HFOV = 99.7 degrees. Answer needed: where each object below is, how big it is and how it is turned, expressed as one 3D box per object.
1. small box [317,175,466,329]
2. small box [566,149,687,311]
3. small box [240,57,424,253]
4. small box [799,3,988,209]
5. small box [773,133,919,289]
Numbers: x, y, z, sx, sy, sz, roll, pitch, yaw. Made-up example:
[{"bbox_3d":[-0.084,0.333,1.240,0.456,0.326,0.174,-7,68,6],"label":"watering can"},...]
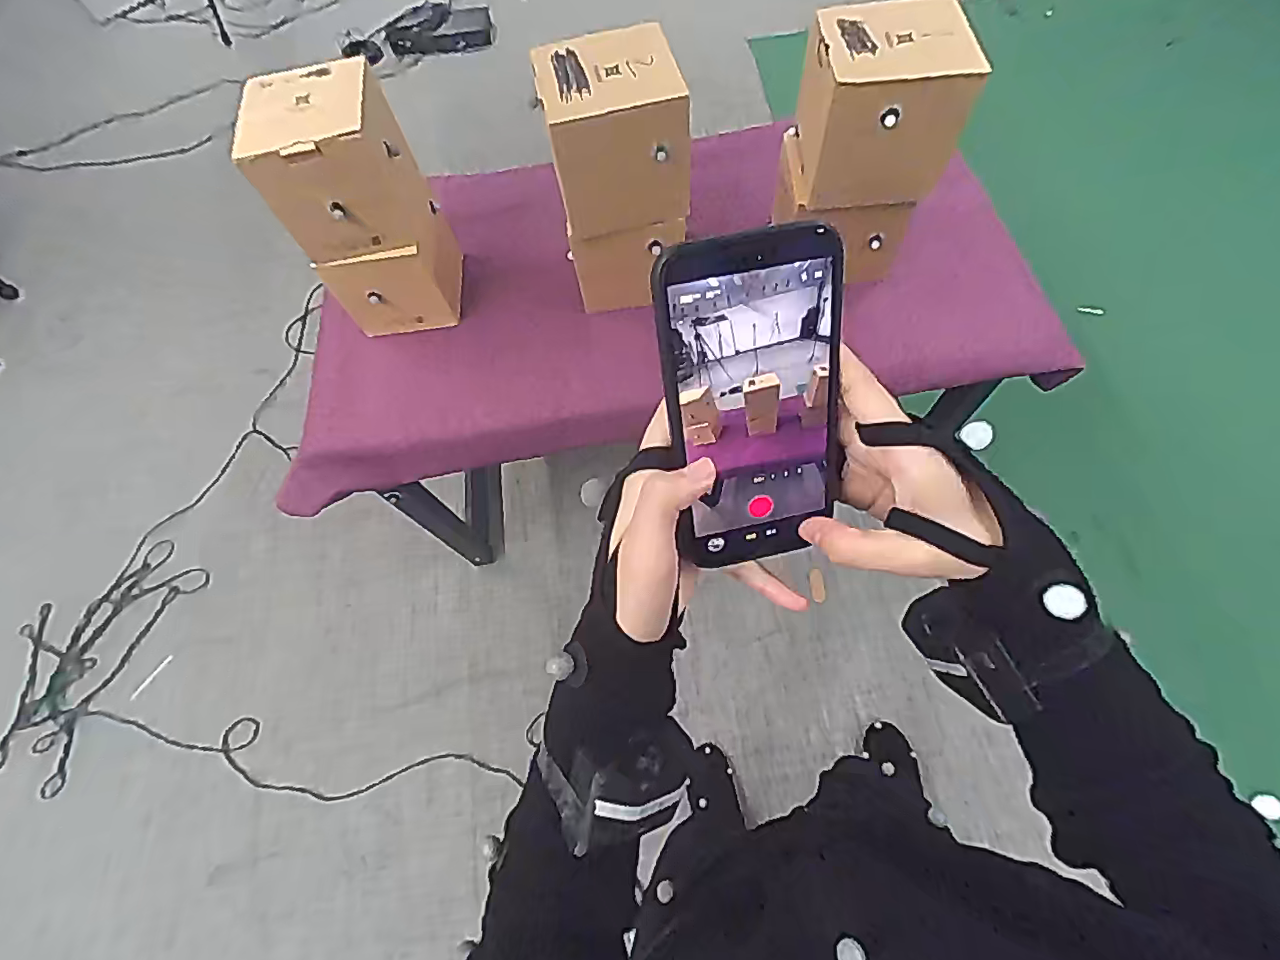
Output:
[{"bbox_3d":[-0.408,-0.375,0.919,0.168,0.176,0.179,-6,65,2],"label":"small box"},{"bbox_3d":[-0.018,-0.404,0.894,0.179,0.176,0.168,-7,65,2],"label":"small box"},{"bbox_3d":[-0.423,-0.450,0.774,0.168,0.176,0.179,-11,66,0],"label":"small box"},{"bbox_3d":[0.316,-0.488,0.722,0.179,0.176,0.168,-2,65,4],"label":"small box"},{"bbox_3d":[0.321,-0.433,0.877,0.179,0.176,0.168,-1,65,6],"label":"small box"}]
